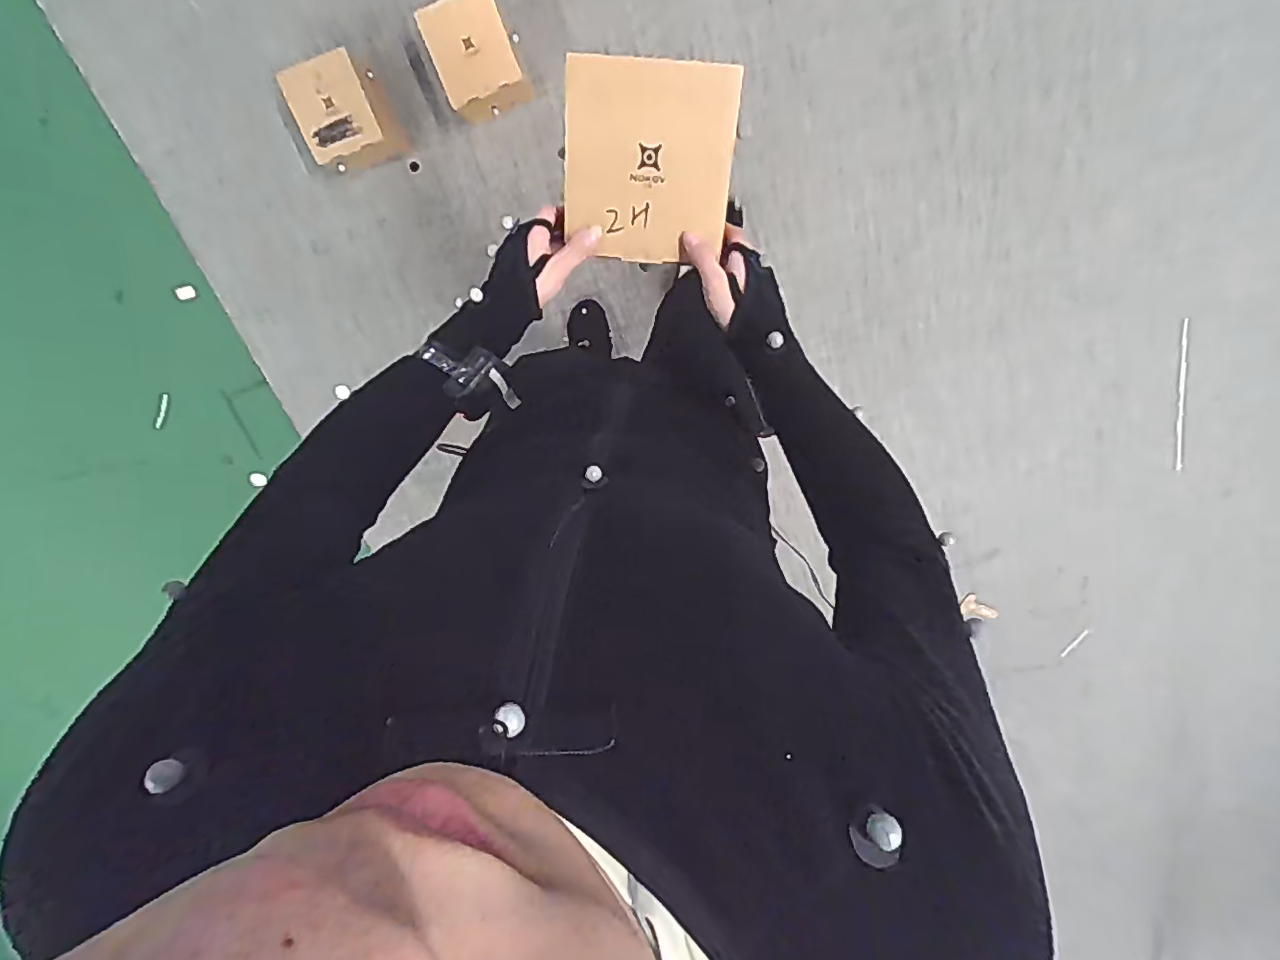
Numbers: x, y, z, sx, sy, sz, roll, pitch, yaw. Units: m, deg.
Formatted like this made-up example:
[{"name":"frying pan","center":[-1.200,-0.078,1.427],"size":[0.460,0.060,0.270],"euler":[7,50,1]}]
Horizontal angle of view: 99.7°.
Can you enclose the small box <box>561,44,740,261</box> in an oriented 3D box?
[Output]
[{"name":"small box","center":[0.010,-0.350,0.606],"size":[0.168,0.176,0.179],"euler":[6,116,2]}]

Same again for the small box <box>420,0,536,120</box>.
[{"name":"small box","center":[-0.345,-0.932,1.189],"size":[0.168,0.176,0.179],"euler":[-18,114,8]}]

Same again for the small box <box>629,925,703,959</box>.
[{"name":"small box","center":[0.073,1.286,1.382],"size":[0.168,0.176,0.179],"euler":[-16,114,7]}]
